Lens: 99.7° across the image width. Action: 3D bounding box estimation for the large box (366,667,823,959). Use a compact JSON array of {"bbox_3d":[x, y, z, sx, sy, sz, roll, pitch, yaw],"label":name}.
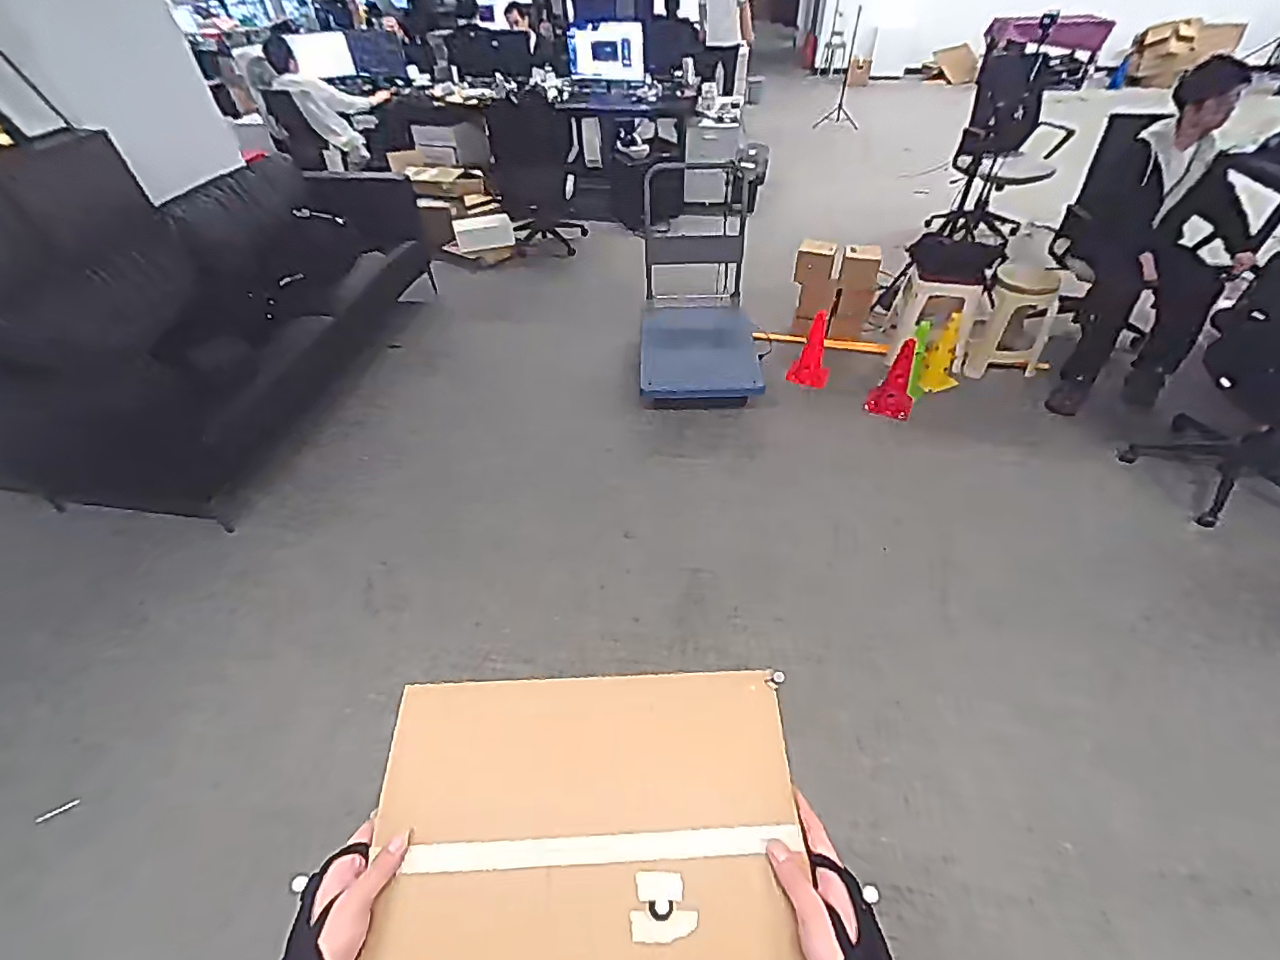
[{"bbox_3d":[-0.048,0.433,0.640,0.408,0.320,0.320,-2,55,-2],"label":"large box"}]
